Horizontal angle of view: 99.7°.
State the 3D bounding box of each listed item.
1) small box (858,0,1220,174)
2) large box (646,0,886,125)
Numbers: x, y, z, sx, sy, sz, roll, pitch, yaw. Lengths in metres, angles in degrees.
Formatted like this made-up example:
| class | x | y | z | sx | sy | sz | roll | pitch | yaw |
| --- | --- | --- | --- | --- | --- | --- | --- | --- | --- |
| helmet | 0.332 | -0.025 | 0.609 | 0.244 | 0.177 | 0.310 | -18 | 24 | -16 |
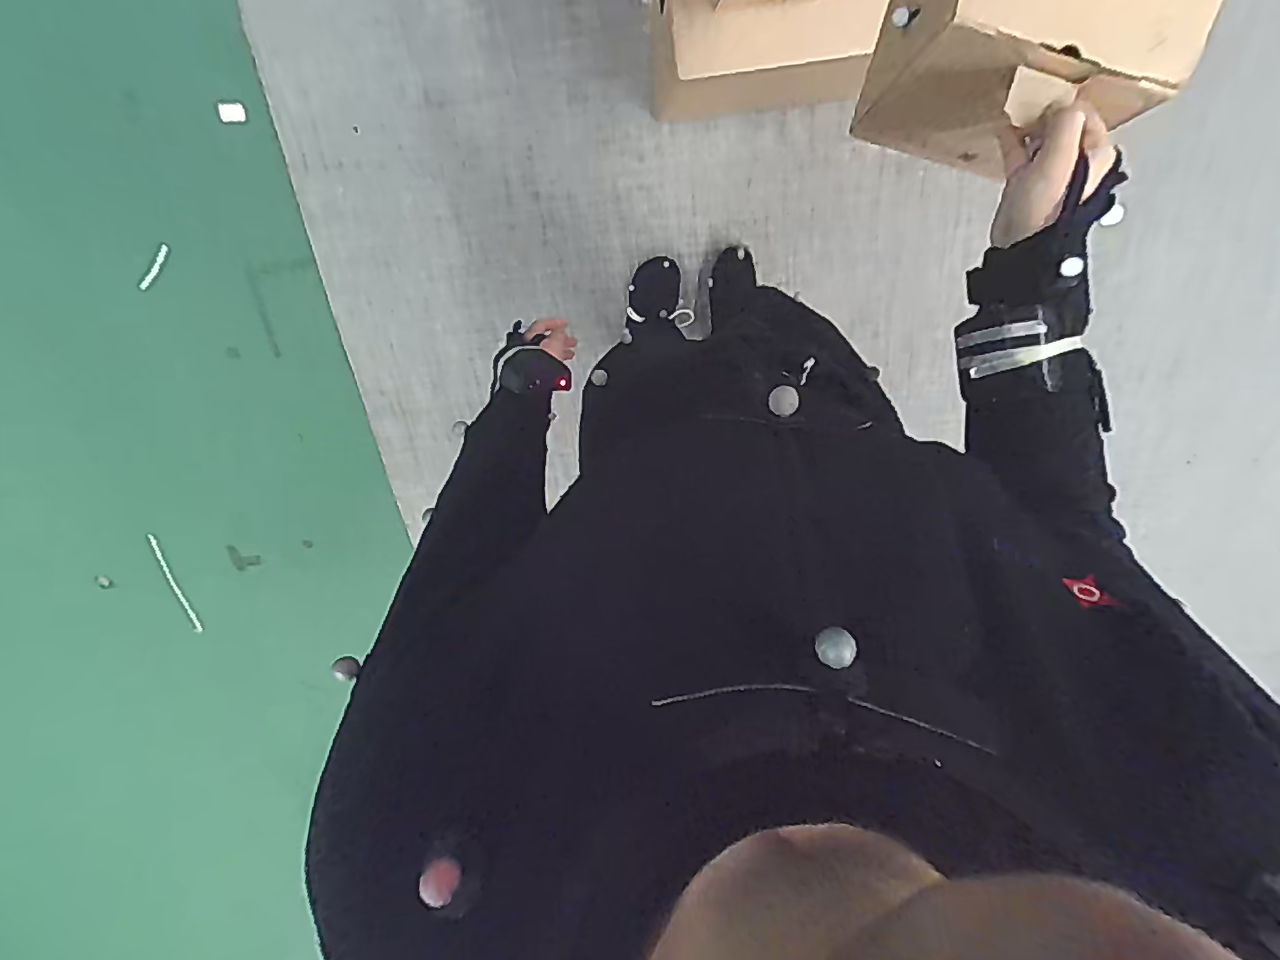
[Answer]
| class | x | y | z | sx | sy | sz | roll | pitch | yaw |
| --- | --- | --- | --- | --- | --- | --- | --- | --- | --- |
| small box | 0.291 | -0.365 | 0.407 | 0.168 | 0.176 | 0.179 | 14 | 99 | -4 |
| large box | 0.224 | -0.837 | 0.912 | 0.408 | 0.320 | 0.320 | -9 | 114 | -1 |
